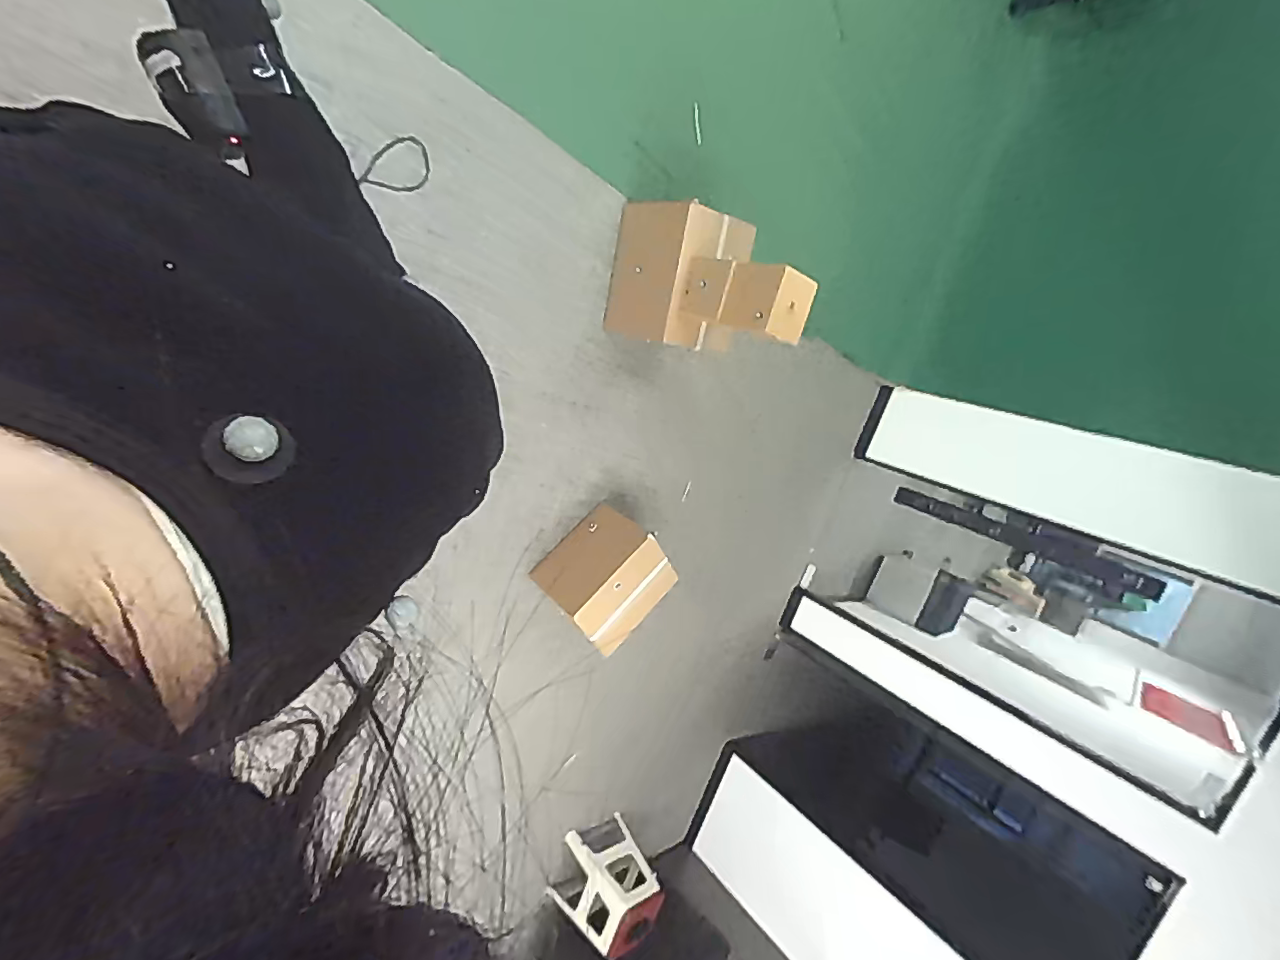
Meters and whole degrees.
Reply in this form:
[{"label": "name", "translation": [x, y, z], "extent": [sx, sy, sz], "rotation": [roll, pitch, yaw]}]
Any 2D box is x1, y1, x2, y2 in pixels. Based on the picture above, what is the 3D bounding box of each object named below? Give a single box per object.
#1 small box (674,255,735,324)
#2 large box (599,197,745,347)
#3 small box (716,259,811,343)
[{"label": "small box", "translation": [0.228, -0.560, 1.603], "extent": [0.179, 0.176, 0.168], "rotation": [2, 110, -44]}, {"label": "large box", "translation": [0.095, -0.672, 1.782], "extent": [0.320, 0.320, 0.408], "rotation": [-6, 114, -43]}, {"label": "small box", "translation": [0.337, -0.499, 1.500], "extent": [0.168, 0.176, 0.179], "rotation": [3, 109, -44]}]
